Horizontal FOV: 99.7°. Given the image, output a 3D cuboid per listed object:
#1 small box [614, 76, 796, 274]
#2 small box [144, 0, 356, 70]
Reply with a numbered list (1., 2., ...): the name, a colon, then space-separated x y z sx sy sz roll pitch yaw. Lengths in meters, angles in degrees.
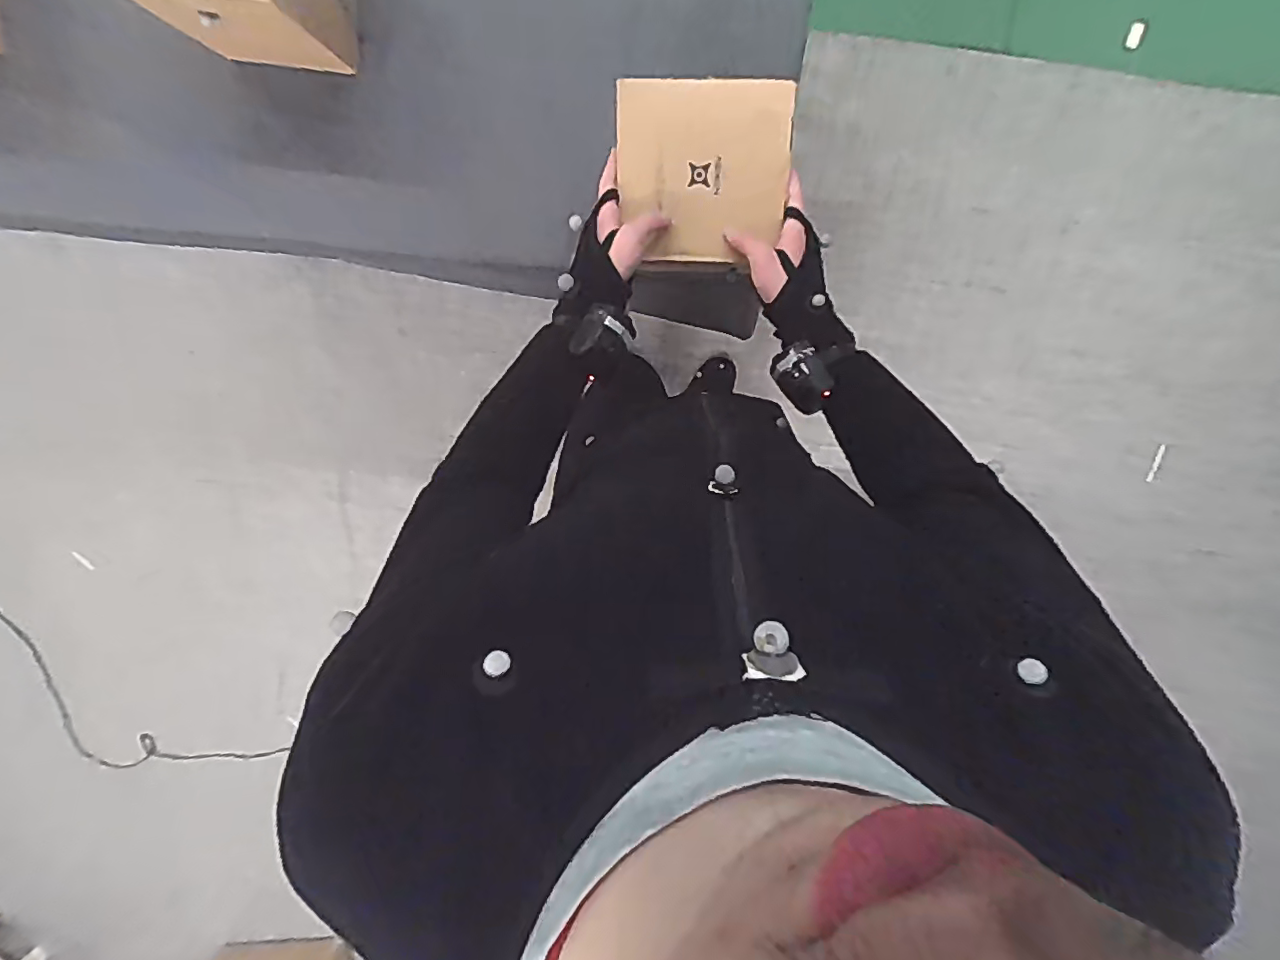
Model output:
1. small box: 0.065 -0.329 0.613 0.179 0.176 0.168 1 107 3
2. small box: -0.446 -0.590 0.599 0.179 0.176 0.168 7 107 1
